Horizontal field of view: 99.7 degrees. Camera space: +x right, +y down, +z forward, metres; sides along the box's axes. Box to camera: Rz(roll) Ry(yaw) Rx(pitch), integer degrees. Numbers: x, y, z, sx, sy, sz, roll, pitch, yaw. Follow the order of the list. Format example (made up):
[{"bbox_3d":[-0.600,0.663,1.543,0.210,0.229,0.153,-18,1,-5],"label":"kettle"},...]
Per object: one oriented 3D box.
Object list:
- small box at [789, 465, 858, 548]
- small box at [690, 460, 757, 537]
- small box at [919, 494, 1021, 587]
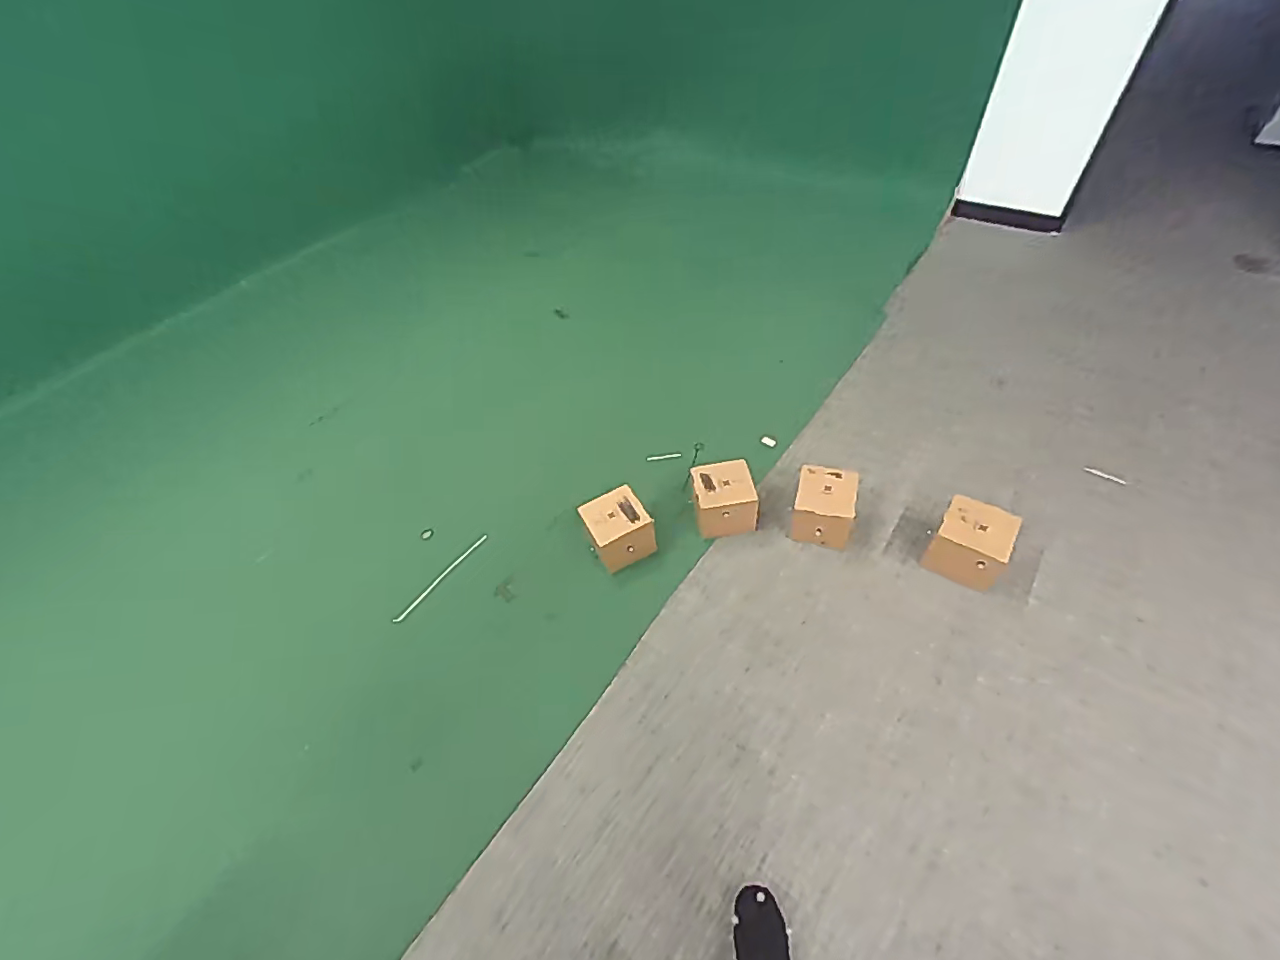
[{"bbox_3d":[0.554,0.083,1.645,0.168,0.176,0.179,11,55,17],"label":"small box"},{"bbox_3d":[0.261,0.063,1.701,0.179,0.176,0.168,-9,51,-1],"label":"small box"},{"bbox_3d":[0.920,0.176,1.519,0.179,0.176,0.168,26,59,25],"label":"small box"}]
